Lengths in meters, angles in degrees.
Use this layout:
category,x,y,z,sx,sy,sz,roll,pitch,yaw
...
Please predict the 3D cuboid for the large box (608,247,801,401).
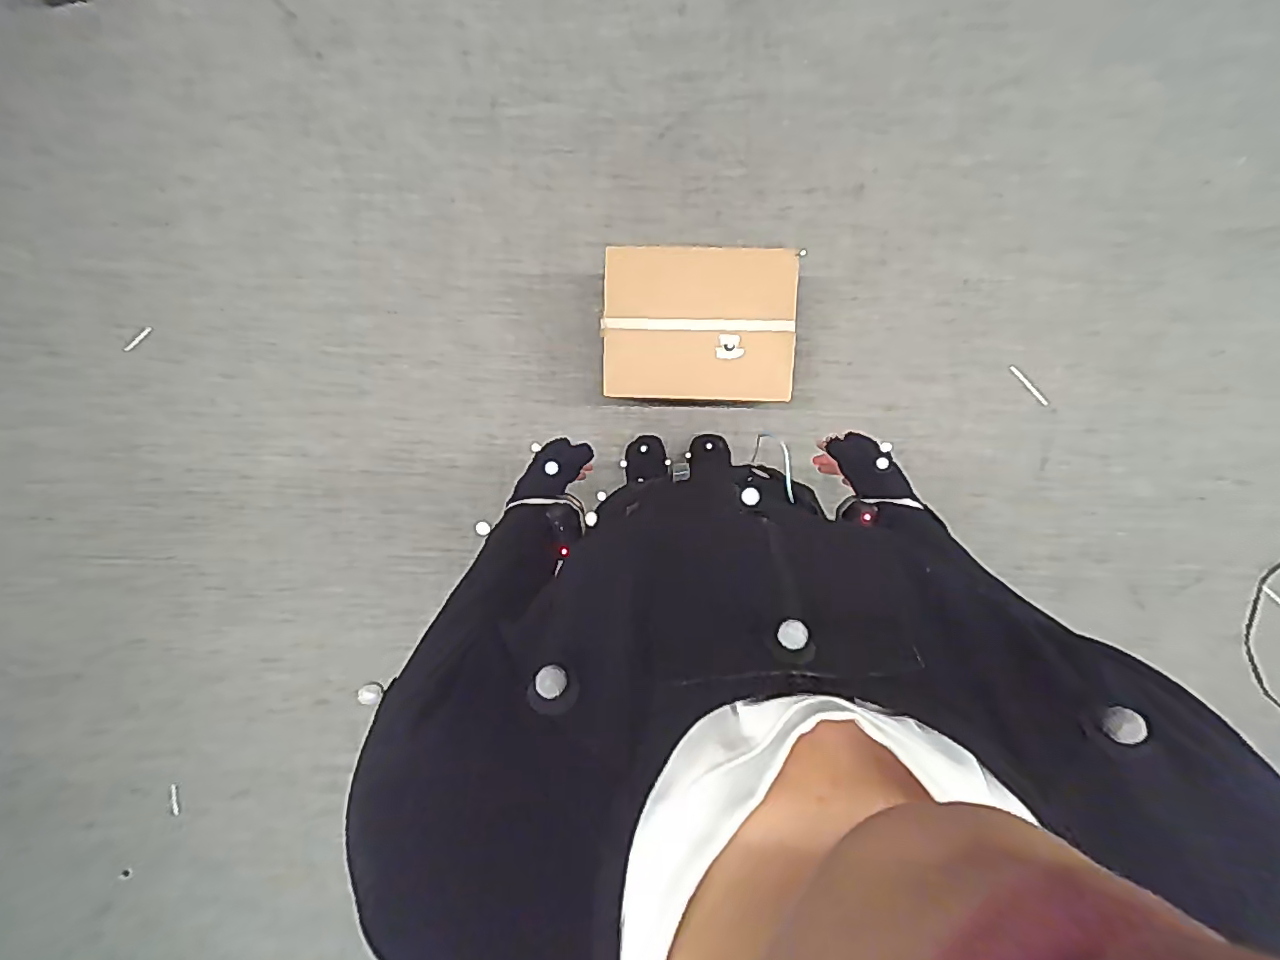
category,x,y,z,sx,sy,sz,roll,pitch,yaw
large box,0.136,-0.347,1.284,0.408,0.320,0.320,2,98,3
